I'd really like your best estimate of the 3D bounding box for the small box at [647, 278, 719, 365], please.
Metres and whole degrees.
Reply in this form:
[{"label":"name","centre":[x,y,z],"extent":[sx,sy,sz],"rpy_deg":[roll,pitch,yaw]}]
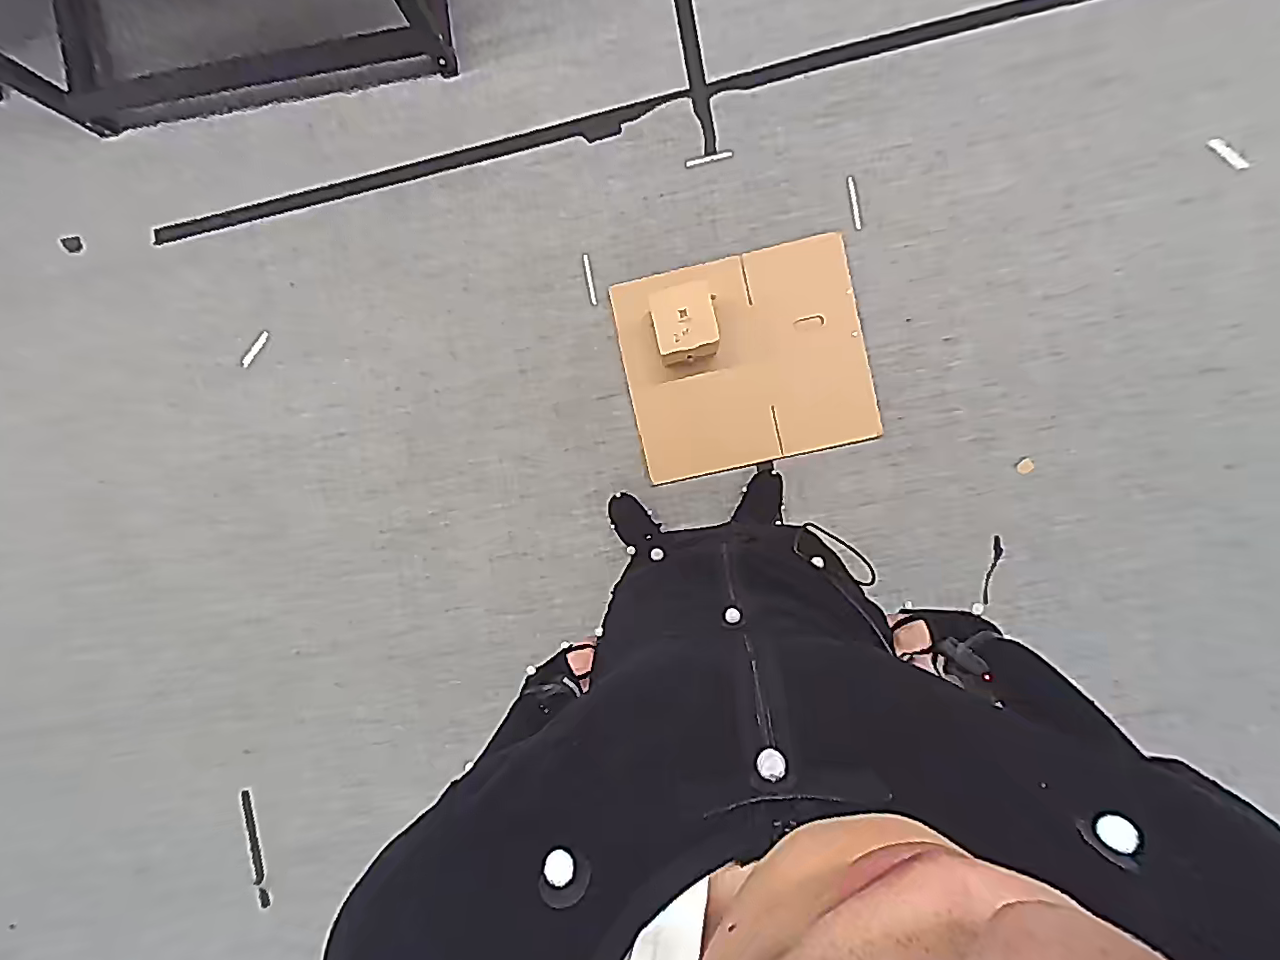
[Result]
[{"label":"small box","centre":[0.118,-0.437,1.517],"extent":[0.168,0.176,0.179],"rpy_deg":[-13,92,5]}]
